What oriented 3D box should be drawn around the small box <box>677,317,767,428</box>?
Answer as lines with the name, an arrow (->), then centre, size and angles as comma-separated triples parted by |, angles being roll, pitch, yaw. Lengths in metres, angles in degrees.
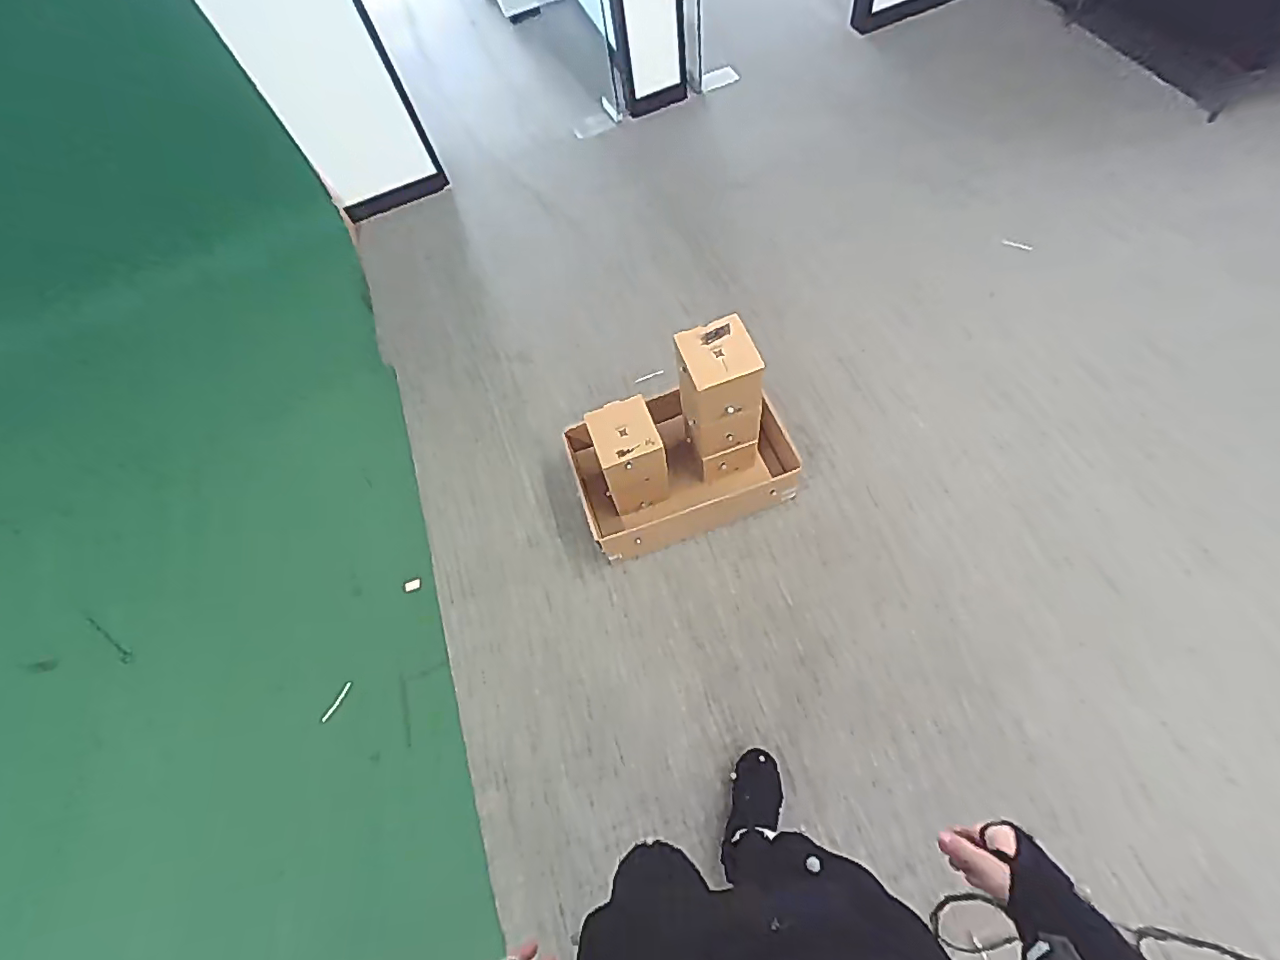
small box -> 0.197, -0.259, 1.327 | 0.168, 0.176, 0.179 | -19, 64, 0

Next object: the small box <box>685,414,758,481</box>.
small box -> 0.245, -0.113, 1.619 | 0.168, 0.176, 0.179 | -19, 63, 0

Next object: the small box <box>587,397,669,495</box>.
small box -> -0.030, -0.088, 1.459 | 0.168, 0.176, 0.179 | -21, 63, -2

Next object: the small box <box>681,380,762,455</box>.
small box -> 0.222, -0.186, 1.473 | 0.168, 0.176, 0.179 | -19, 63, 0
